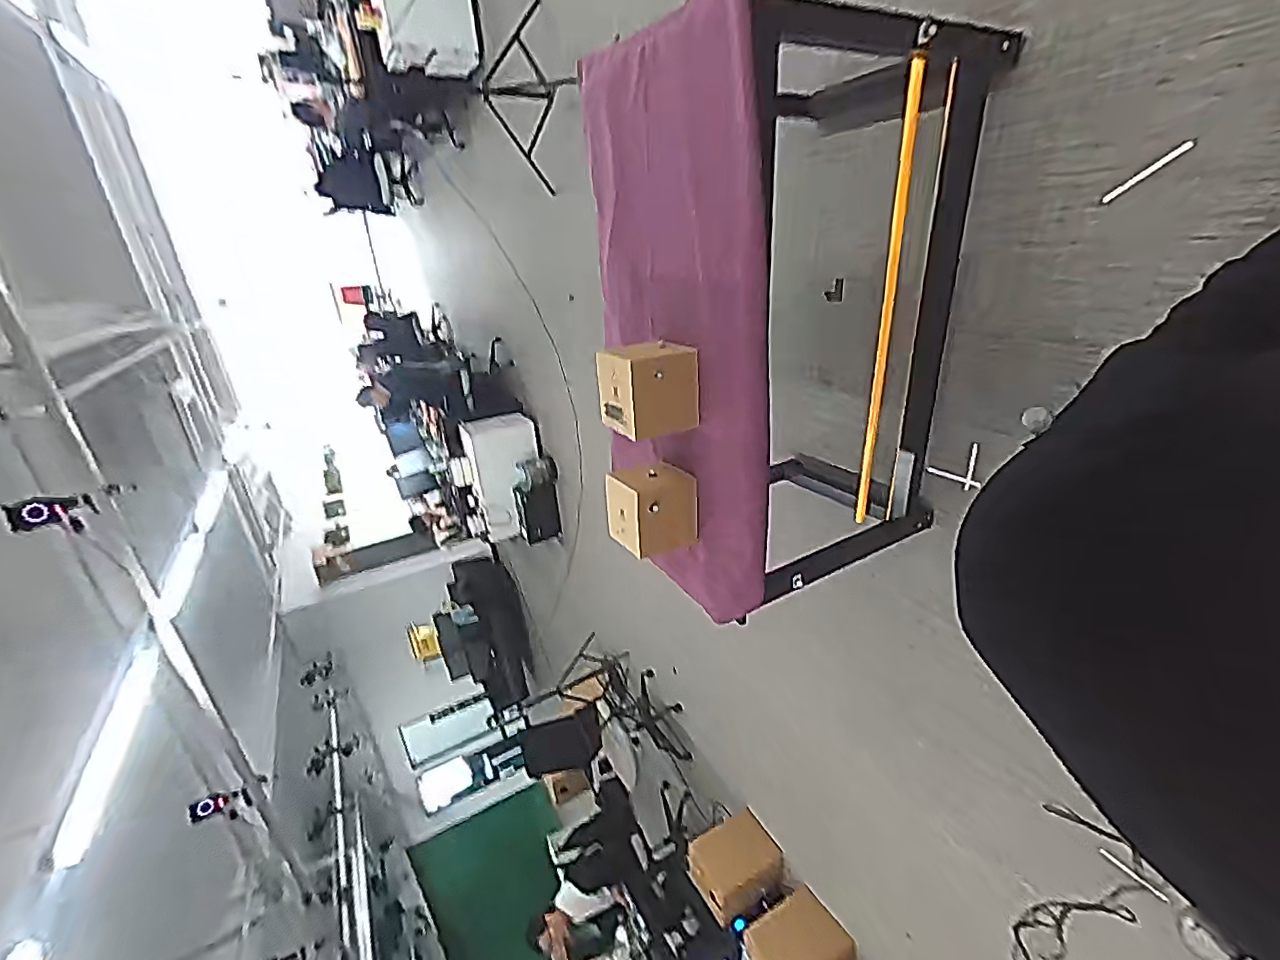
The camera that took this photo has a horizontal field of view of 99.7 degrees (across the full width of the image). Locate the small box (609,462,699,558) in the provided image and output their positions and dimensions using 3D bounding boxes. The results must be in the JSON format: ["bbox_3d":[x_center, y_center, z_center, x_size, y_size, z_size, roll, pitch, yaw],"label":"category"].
[{"bbox_3d":[0.038,0.065,1.349,0.168,0.176,0.179,31,129,56],"label":"small box"}]
